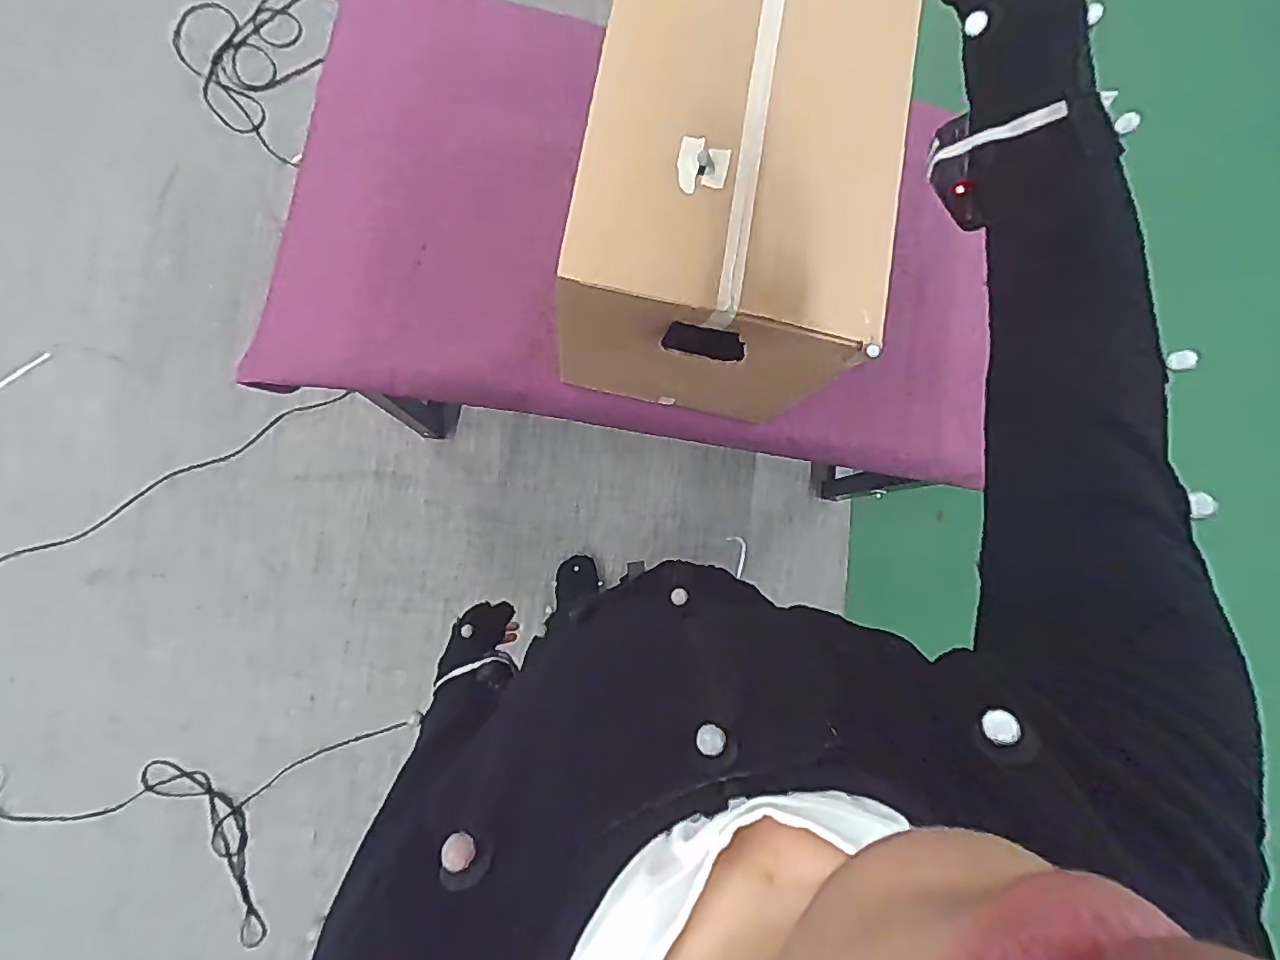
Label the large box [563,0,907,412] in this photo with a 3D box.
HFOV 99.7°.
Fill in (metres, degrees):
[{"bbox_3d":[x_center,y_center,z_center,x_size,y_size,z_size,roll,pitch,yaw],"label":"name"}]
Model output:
[{"bbox_3d":[0.088,-0.337,0.685,0.320,0.320,0.408,11,82,-6],"label":"large box"}]
